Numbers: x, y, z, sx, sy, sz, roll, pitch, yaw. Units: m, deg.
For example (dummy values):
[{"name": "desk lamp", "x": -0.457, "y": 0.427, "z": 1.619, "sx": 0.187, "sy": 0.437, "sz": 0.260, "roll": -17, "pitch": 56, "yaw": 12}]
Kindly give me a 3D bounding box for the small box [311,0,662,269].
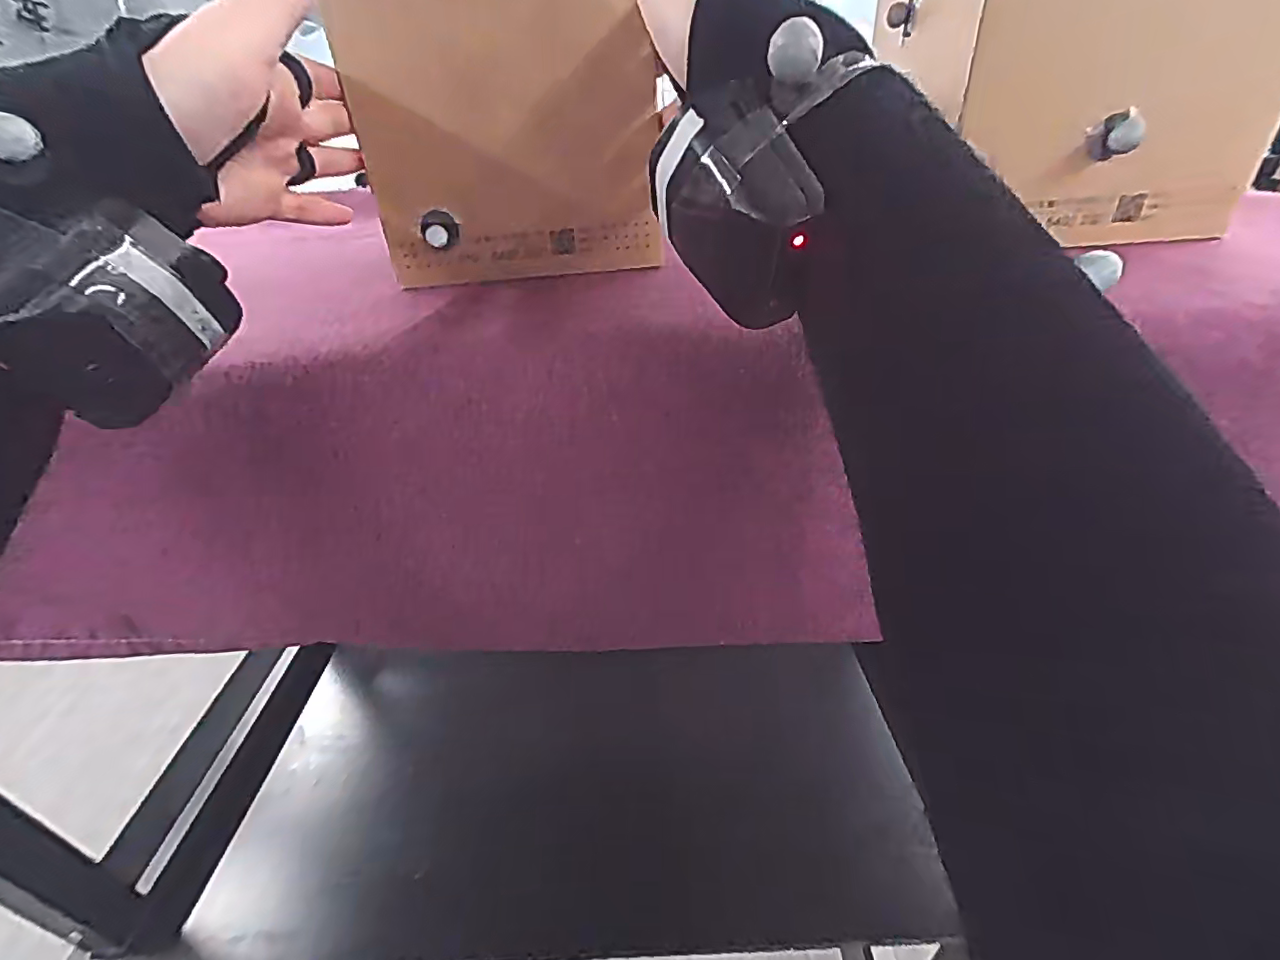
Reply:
[{"name": "small box", "x": -0.078, "y": -0.240, "z": 0.351, "sx": 0.168, "sy": 0.176, "sz": 0.179, "roll": -6, "pitch": 33, "yaw": -3}]
